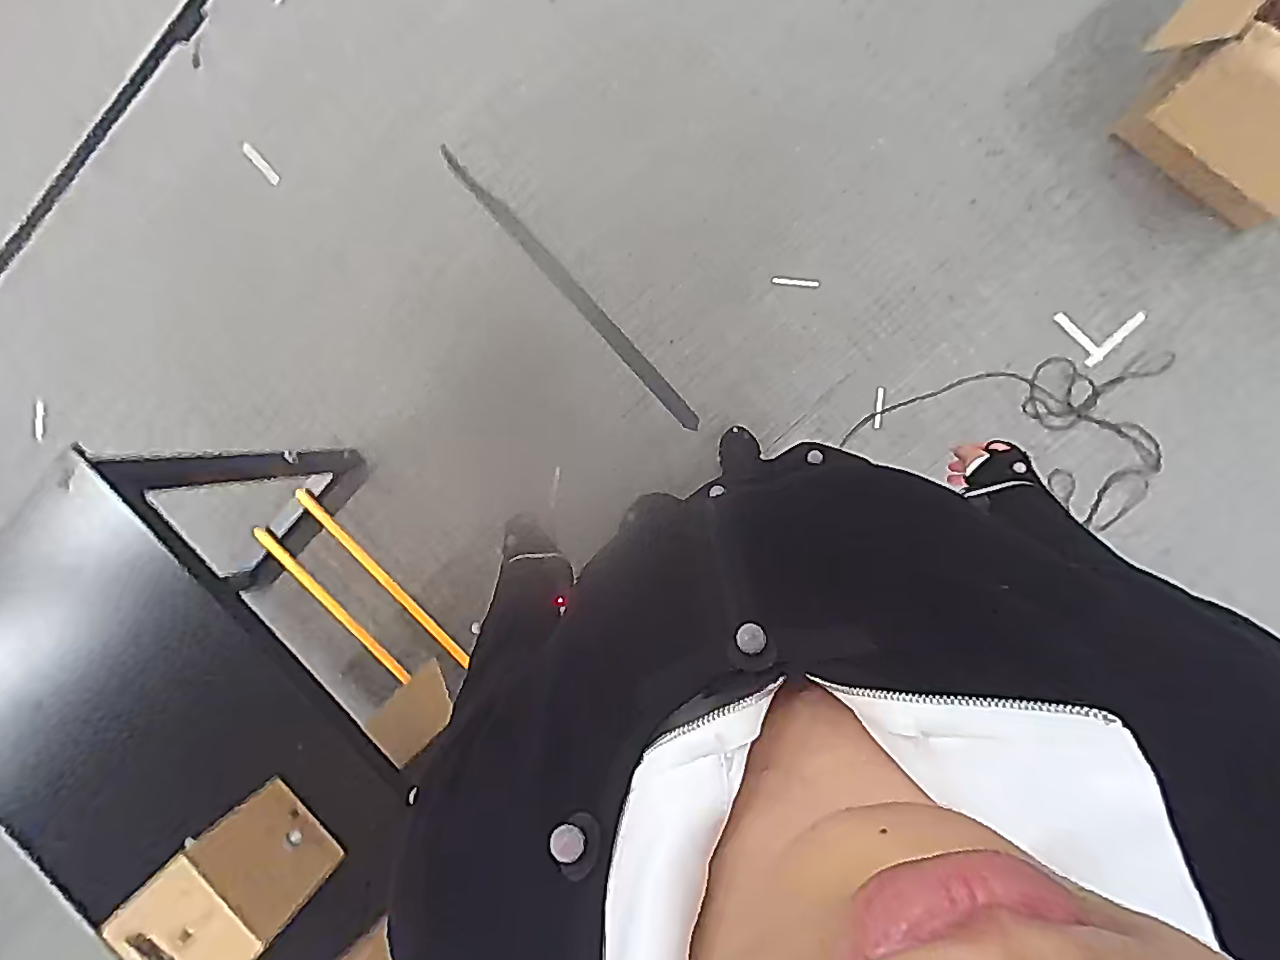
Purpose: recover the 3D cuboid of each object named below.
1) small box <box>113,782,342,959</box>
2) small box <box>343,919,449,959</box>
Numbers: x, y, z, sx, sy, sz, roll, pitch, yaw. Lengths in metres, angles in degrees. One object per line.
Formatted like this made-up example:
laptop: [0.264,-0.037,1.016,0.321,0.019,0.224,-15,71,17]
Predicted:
small box: [-0.594,0.603,0.802,0.179,0.176,0.168,-43,89,7]
small box: [-0.389,0.802,0.793,0.179,0.176,0.168,45,98,2]
